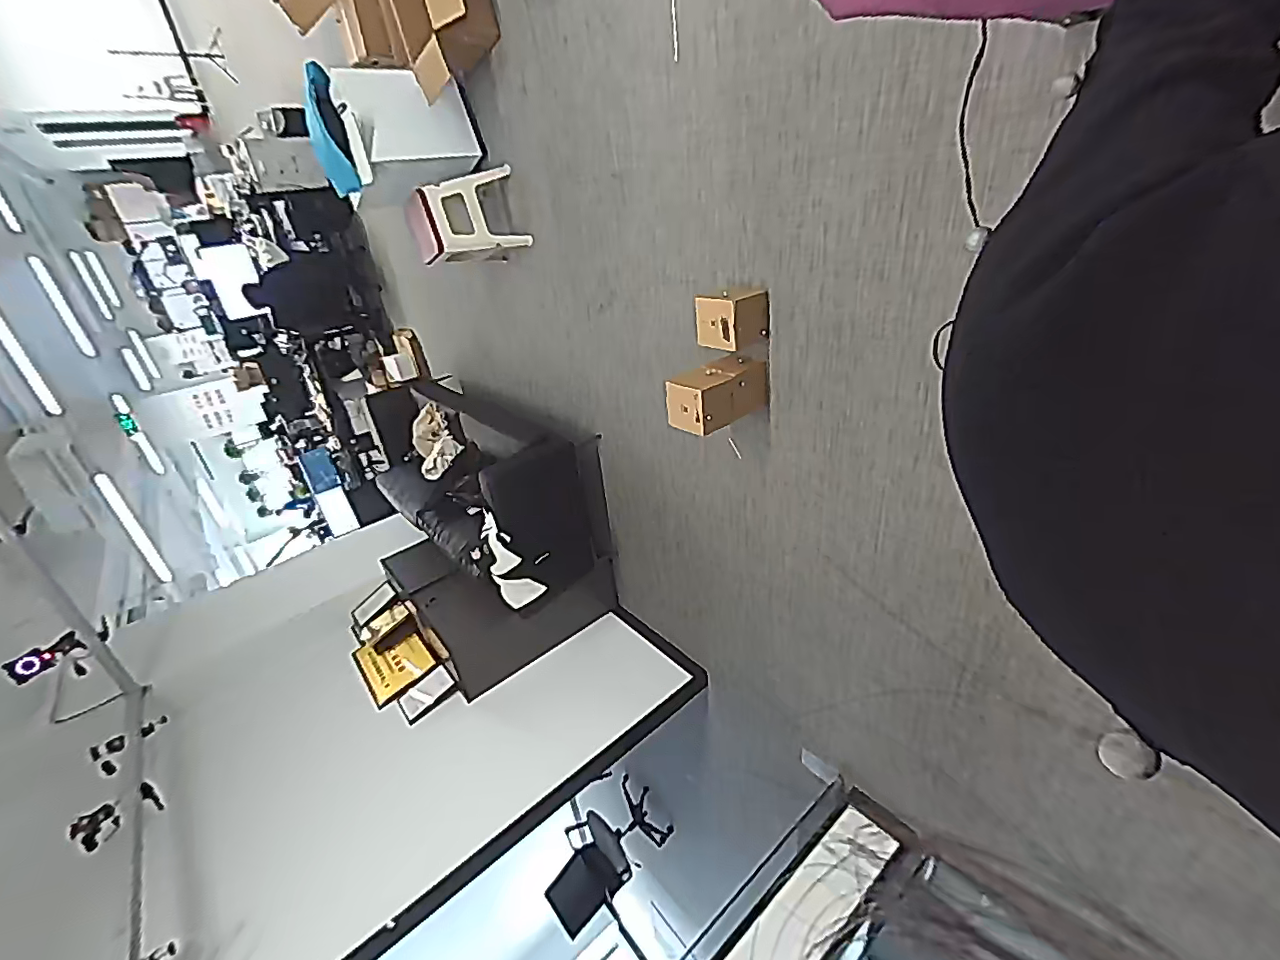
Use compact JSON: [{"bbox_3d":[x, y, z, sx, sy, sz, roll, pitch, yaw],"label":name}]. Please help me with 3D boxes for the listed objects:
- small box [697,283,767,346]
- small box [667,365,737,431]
[{"bbox_3d":[0.316,-0.566,1.834,0.179,0.176,0.168,26,132,46],"label":"small box"},{"bbox_3d":[0.215,-0.291,1.869,0.179,0.176,0.168,27,133,45],"label":"small box"}]
